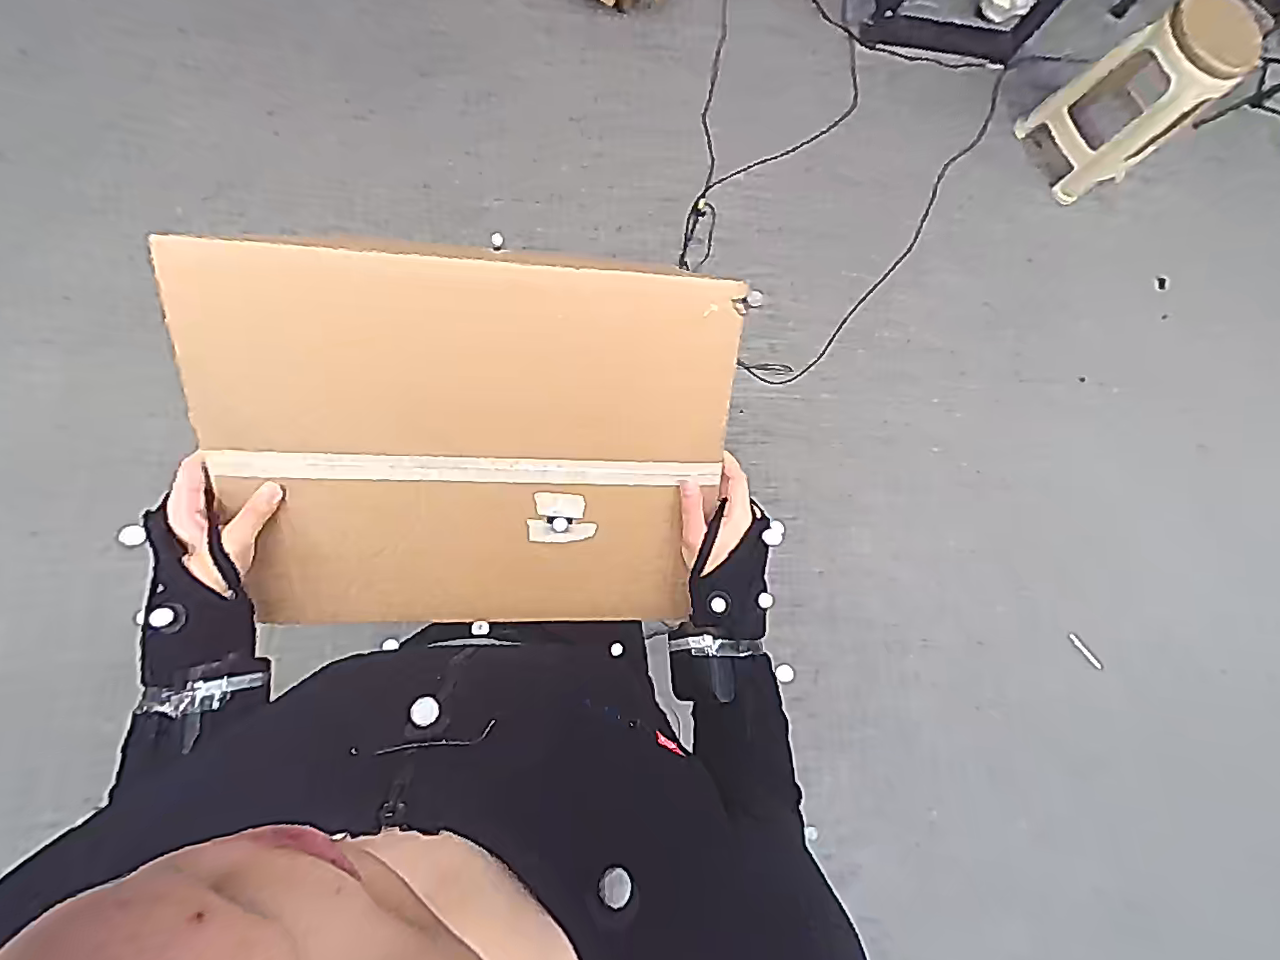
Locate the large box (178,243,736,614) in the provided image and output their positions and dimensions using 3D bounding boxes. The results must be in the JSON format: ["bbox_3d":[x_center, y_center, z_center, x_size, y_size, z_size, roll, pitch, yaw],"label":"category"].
[{"bbox_3d":[-0.150,-0.081,0.589,0.408,0.320,0.320,0,115,-9],"label":"large box"}]
